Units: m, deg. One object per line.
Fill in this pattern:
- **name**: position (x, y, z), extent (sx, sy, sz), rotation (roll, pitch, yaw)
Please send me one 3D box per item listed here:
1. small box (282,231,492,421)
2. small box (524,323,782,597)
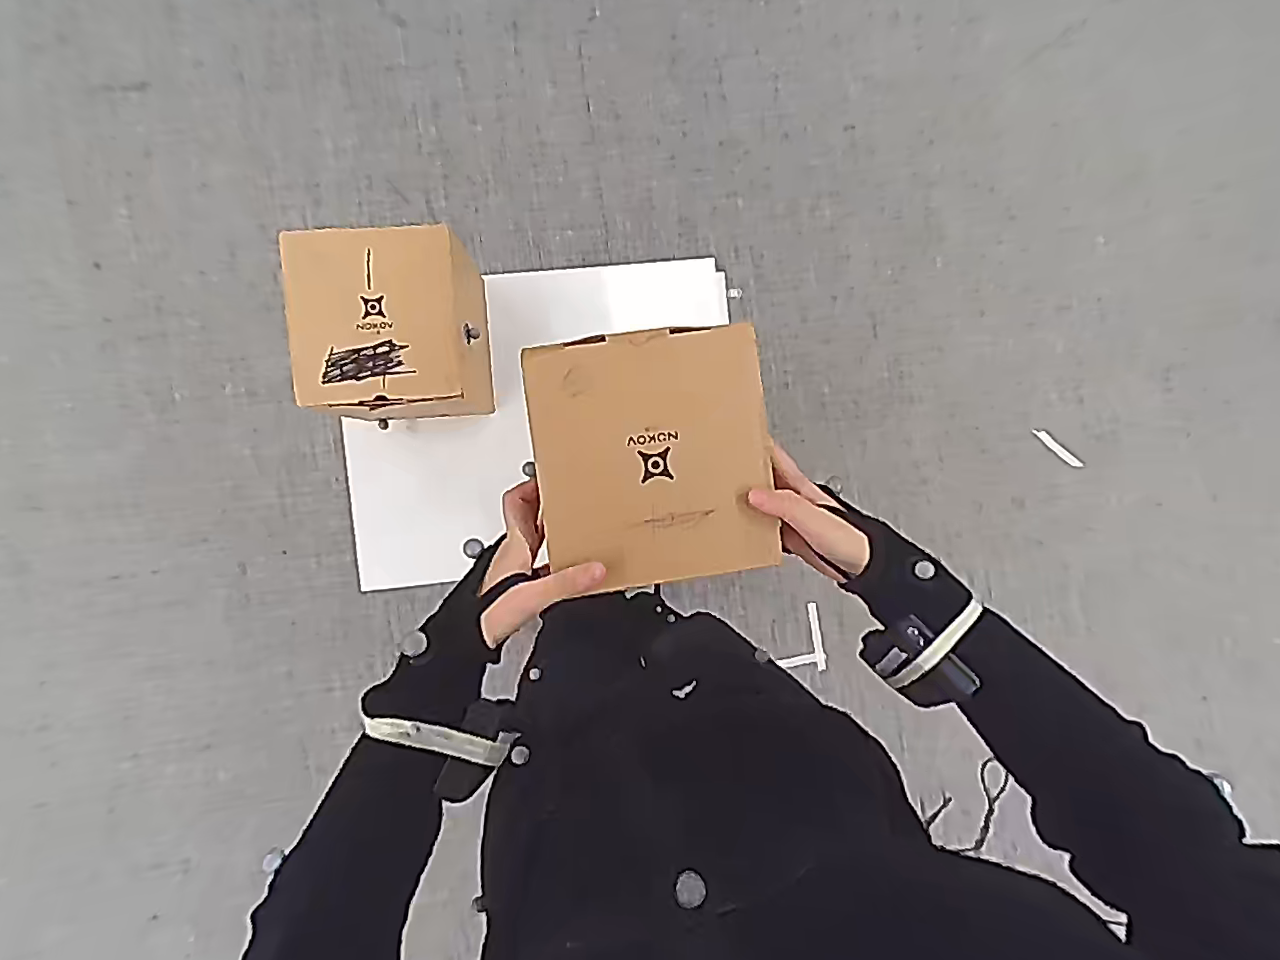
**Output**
- **small box**: position (-0.271, -0.161, 0.618), extent (0.168, 0.176, 0.179), rotation (-4, 91, -5)
- **small box**: position (0.004, -0.018, 0.457), extent (0.168, 0.176, 0.179), rotation (-9, 94, -4)
